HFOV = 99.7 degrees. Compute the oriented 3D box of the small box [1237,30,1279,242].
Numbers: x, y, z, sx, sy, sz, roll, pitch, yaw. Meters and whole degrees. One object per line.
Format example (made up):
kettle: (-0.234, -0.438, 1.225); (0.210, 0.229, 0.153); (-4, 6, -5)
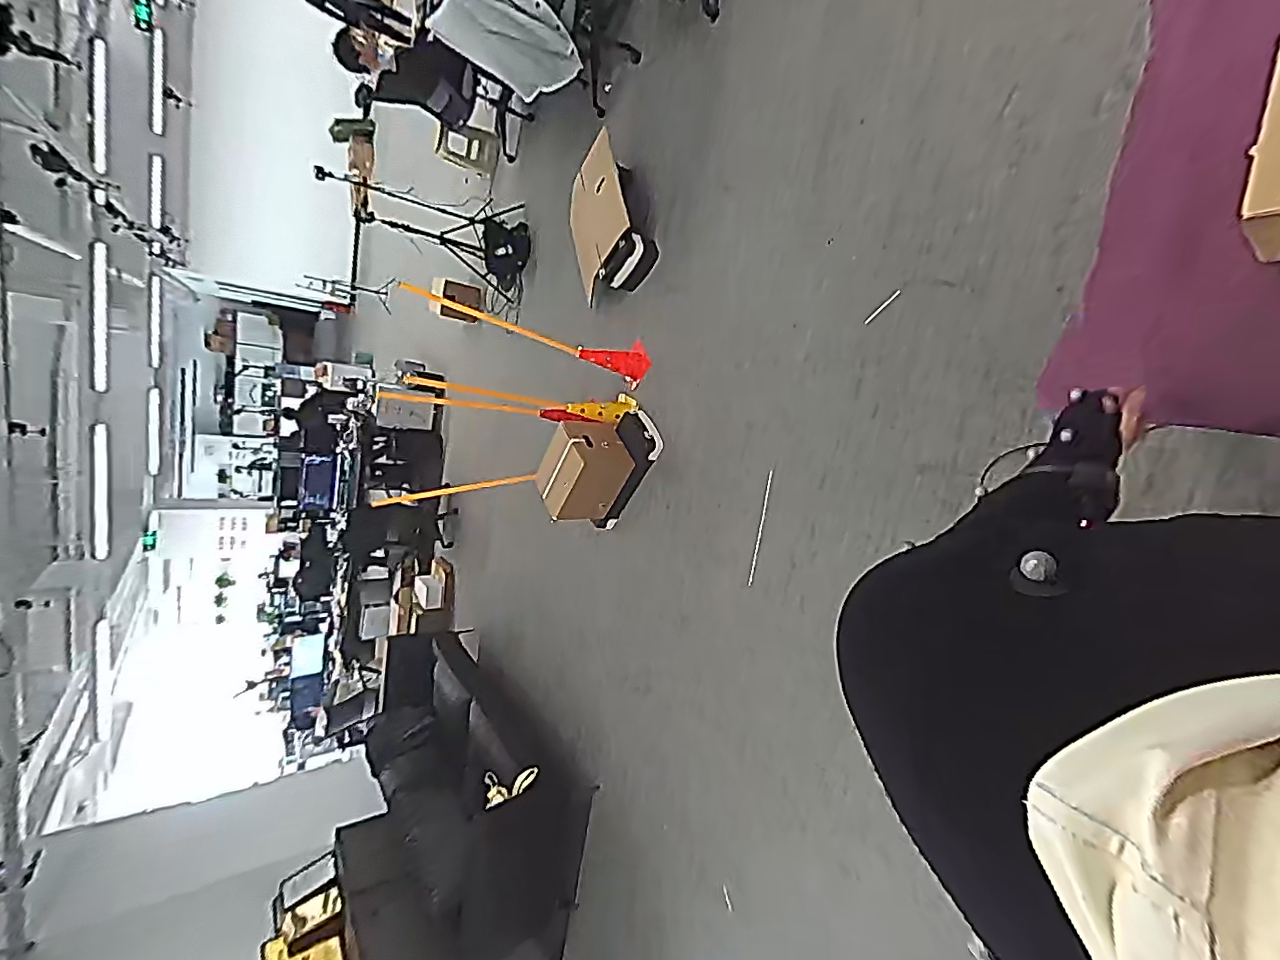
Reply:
small box: (0.720, -0.342, 0.514); (0.168, 0.176, 0.179); (15, 100, 52)
